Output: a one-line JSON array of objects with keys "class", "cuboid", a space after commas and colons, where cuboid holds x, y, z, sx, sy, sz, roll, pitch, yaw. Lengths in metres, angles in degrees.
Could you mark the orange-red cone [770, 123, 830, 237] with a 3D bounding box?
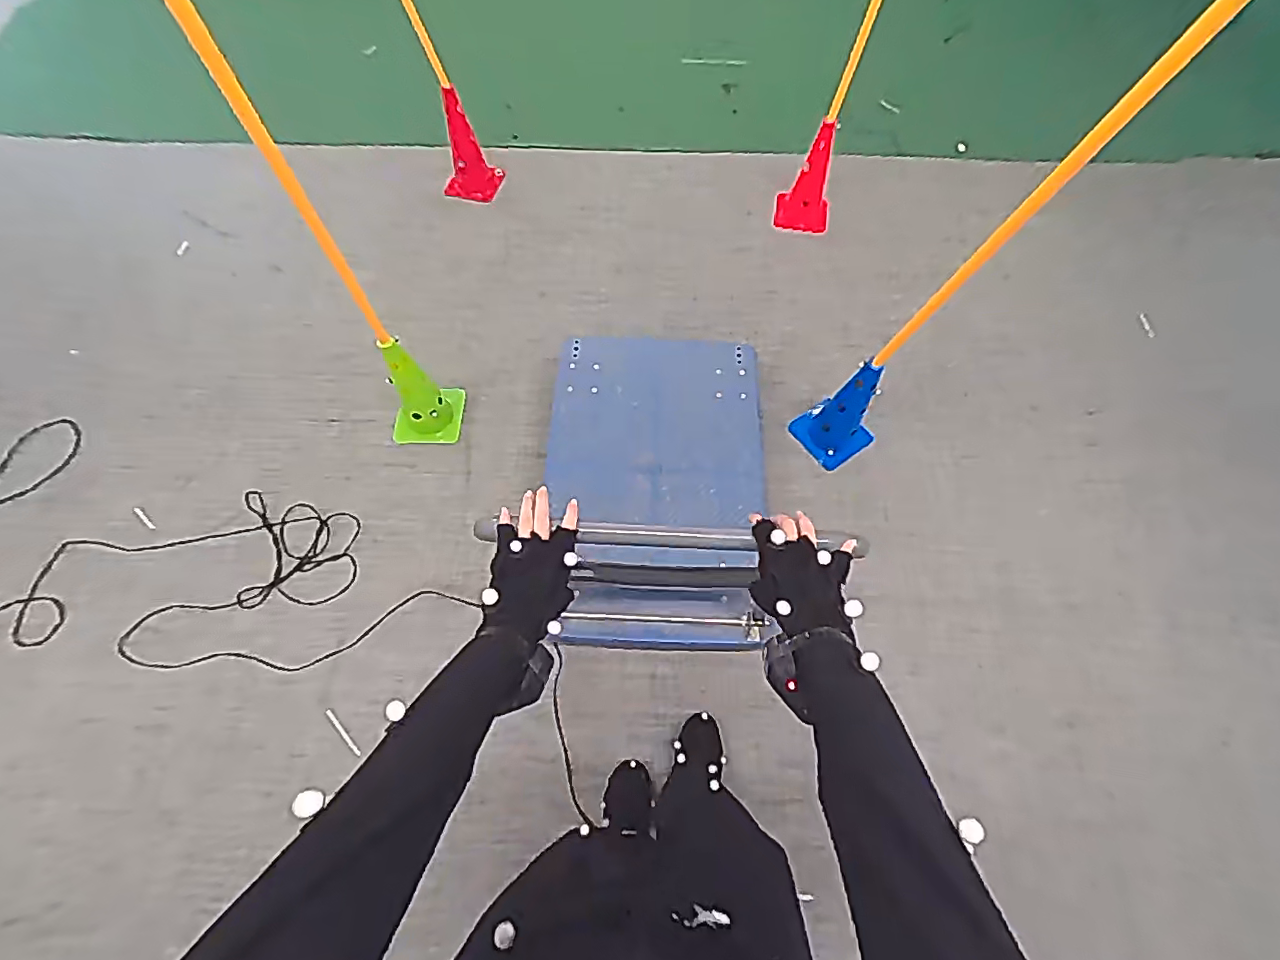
[{"class": "orange-red cone", "cuboid": [0.613, -1.096, 1.950, 0.198, 0.360, 0.199, 11, 65, 5]}]
